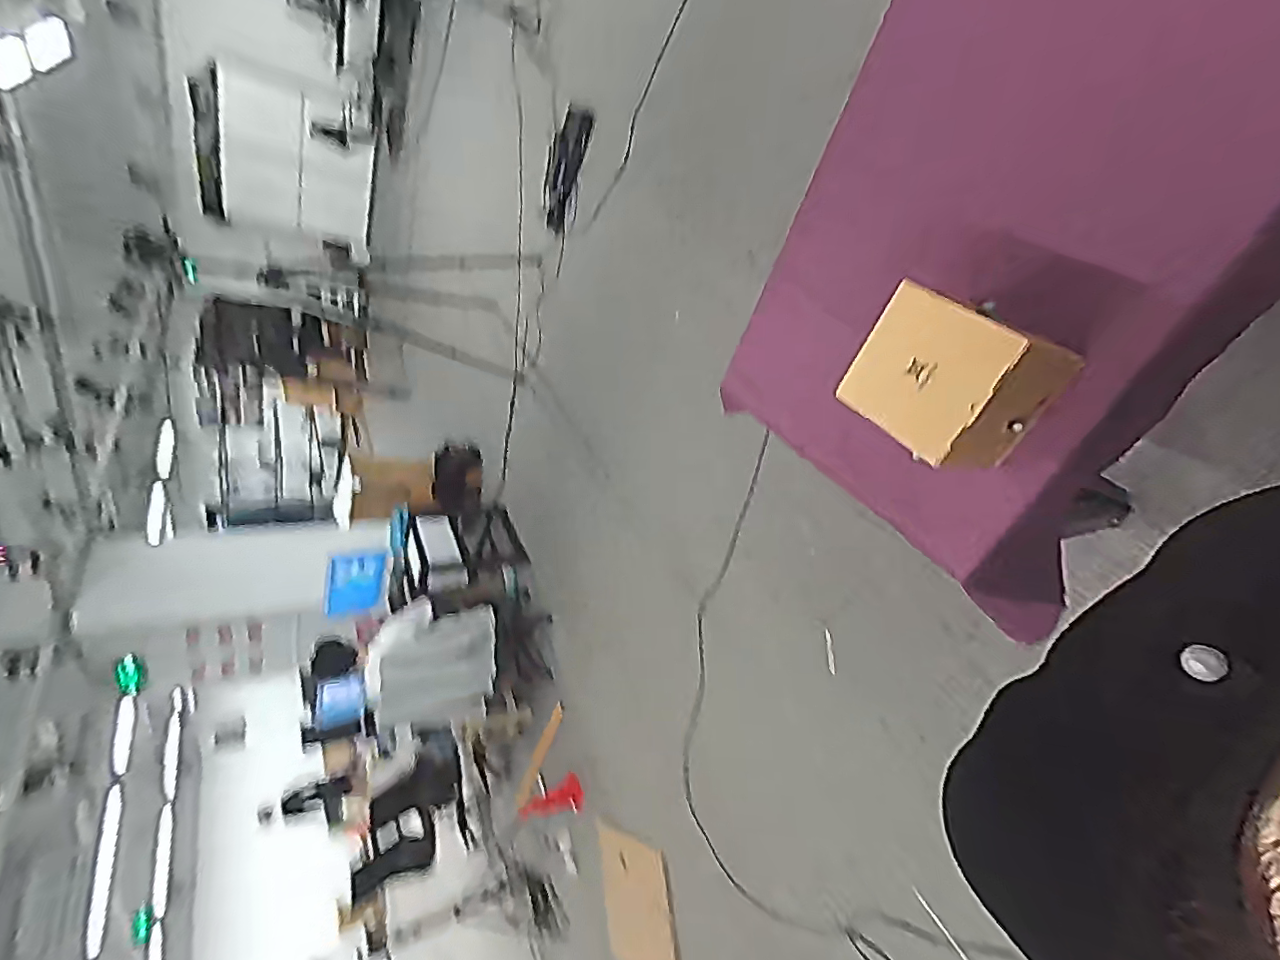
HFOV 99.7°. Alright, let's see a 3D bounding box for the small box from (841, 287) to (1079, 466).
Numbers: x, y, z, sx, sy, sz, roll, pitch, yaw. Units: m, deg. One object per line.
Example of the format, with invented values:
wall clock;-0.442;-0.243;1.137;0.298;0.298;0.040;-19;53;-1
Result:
small box;0.413;-0.129;0.710;0.179;0.176;0.168;50;130;40
